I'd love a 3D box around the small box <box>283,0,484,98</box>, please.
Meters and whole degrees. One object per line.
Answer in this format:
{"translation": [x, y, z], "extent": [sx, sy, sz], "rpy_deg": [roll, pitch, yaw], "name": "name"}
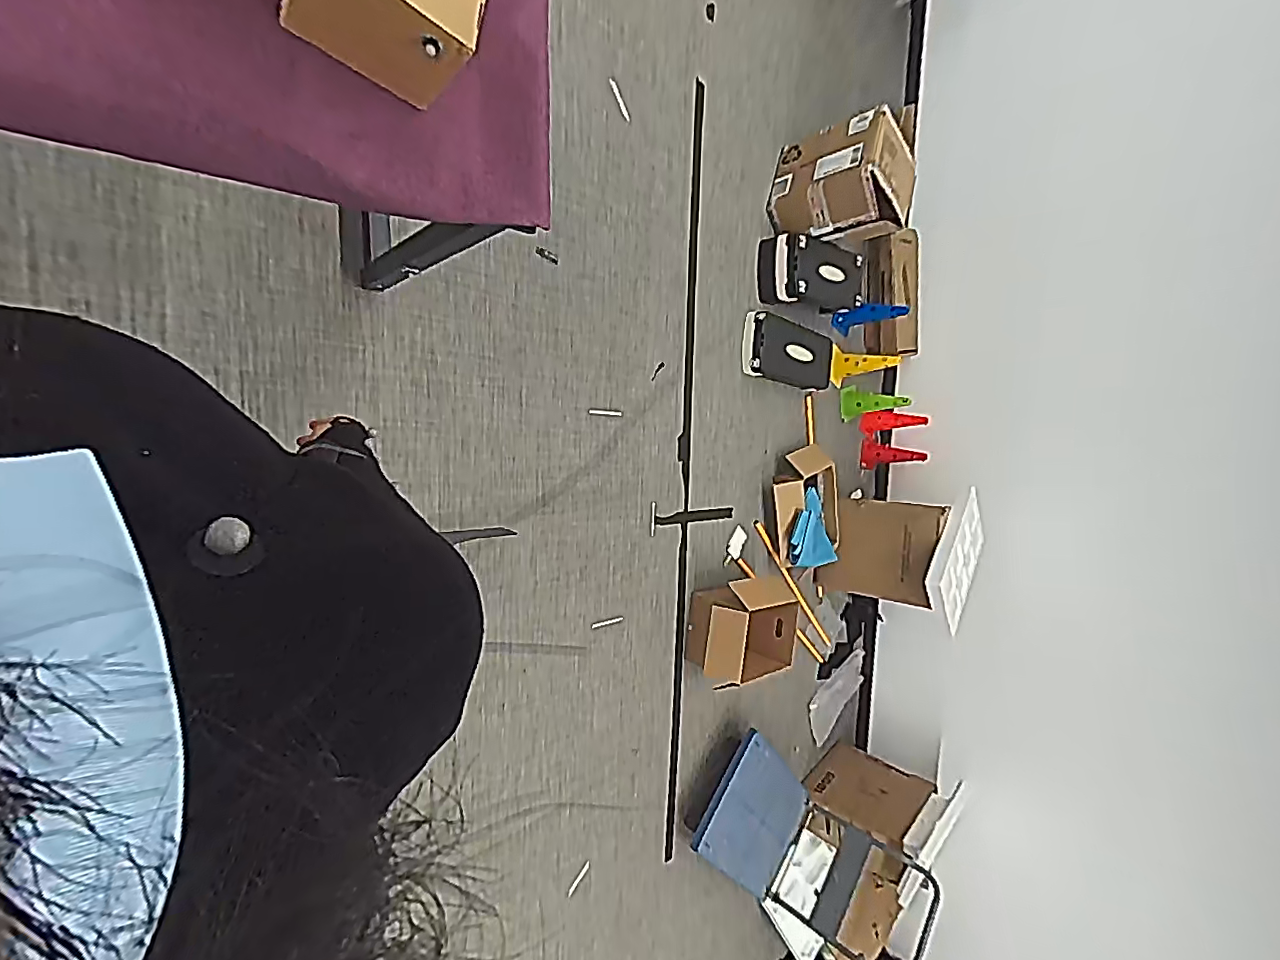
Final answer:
{"translation": [-0.296, -0.600, 0.635], "extent": [0.179, 0.176, 0.168], "rpy_deg": [10, 88, -44], "name": "small box"}
